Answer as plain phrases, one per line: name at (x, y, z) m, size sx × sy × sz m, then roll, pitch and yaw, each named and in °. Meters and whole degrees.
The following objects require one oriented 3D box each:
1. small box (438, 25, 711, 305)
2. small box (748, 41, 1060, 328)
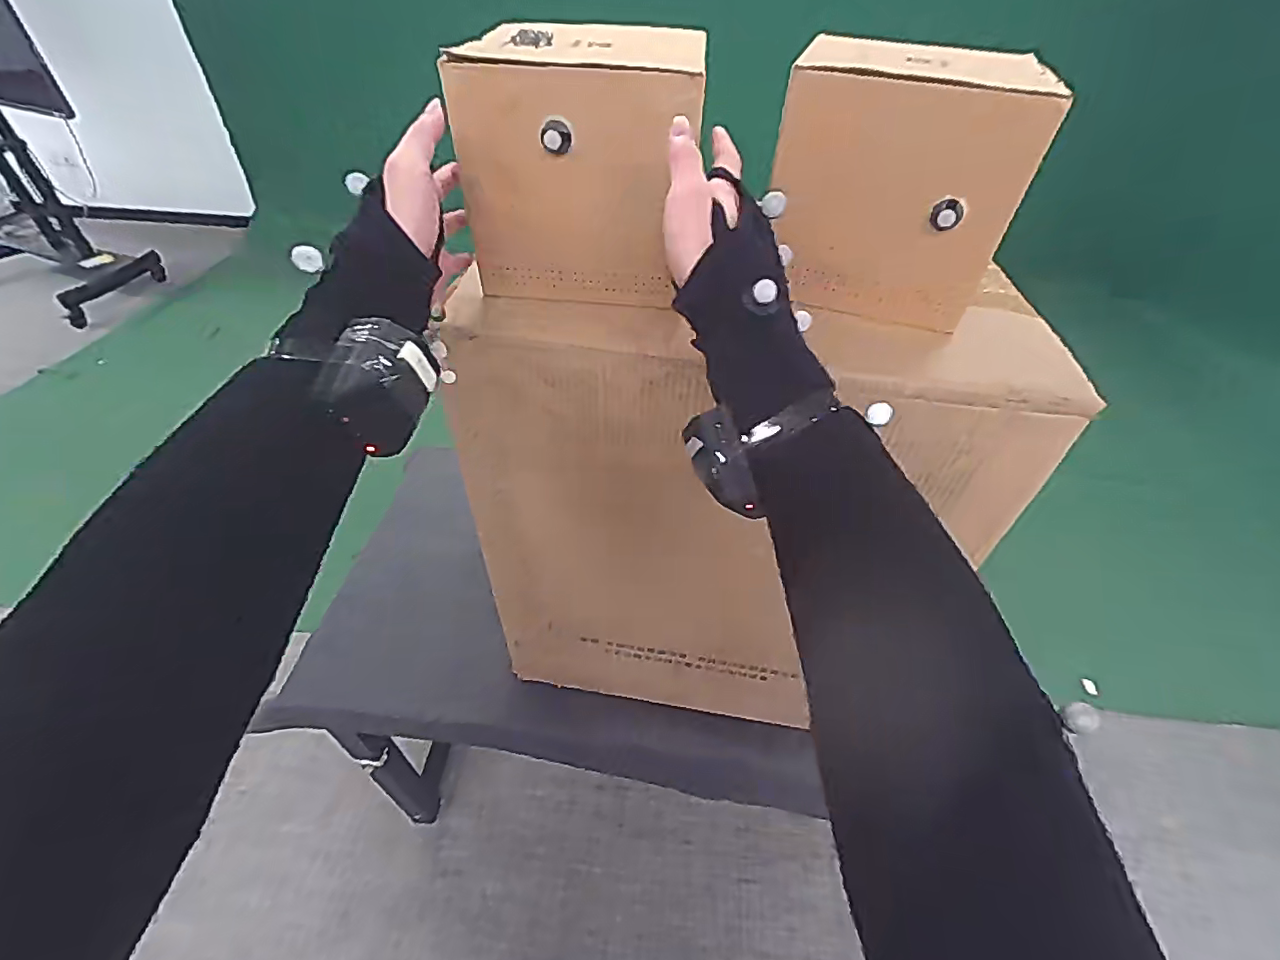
small box at (-0.039, -0.270, 0.468) m, size 0.179 × 0.176 × 0.168 m, roll 8°, pitch 49°, yaw 6°
small box at (0.206, -0.251, 0.464) m, size 0.179 × 0.176 × 0.168 m, roll 16°, pitch 47°, yaw 13°
